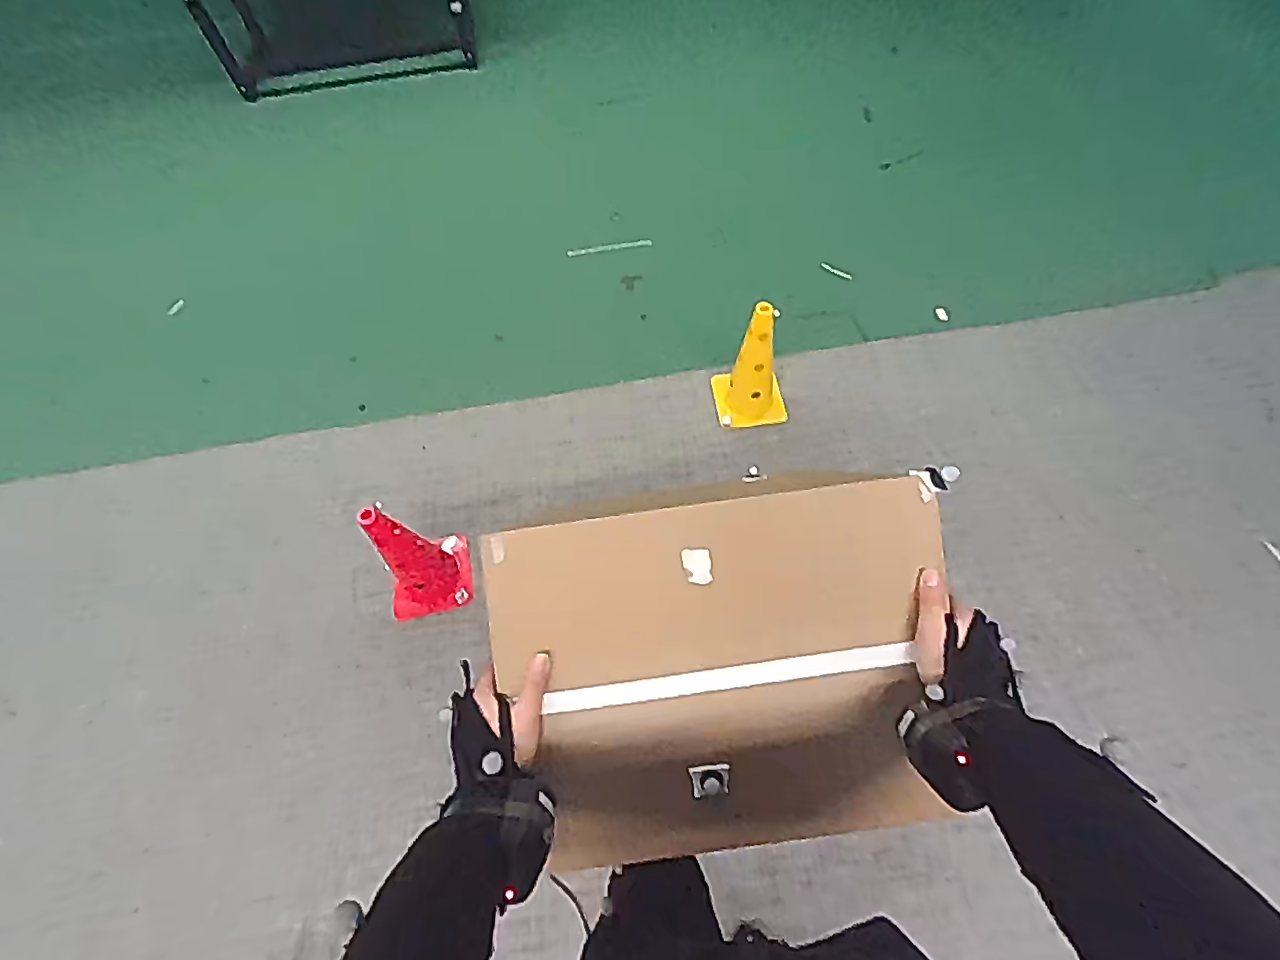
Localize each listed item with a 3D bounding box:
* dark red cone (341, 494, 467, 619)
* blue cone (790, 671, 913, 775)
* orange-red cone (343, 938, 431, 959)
[{"bbox_3d":[-0.554,0.150,1.237,0.202,0.394,0.201,-16,56,-4],"label":"dark red cone"},{"bbox_3d":[0.421,0.438,1.022,0.192,0.380,0.193,-9,59,-1],"label":"blue cone"},{"bbox_3d":[-0.489,0.873,0.823,0.199,0.360,0.198,7,59,11],"label":"orange-red cone"}]
